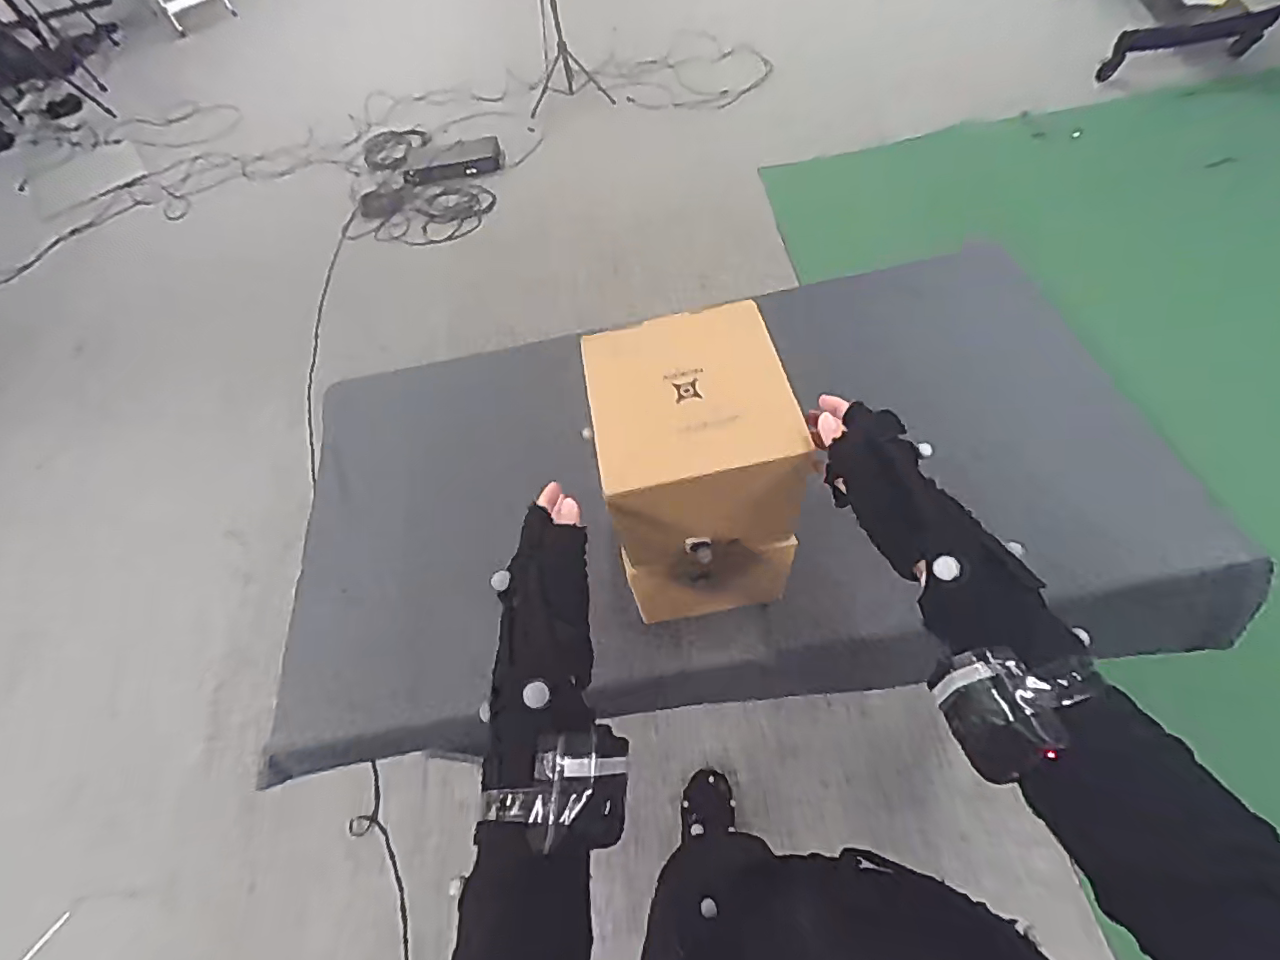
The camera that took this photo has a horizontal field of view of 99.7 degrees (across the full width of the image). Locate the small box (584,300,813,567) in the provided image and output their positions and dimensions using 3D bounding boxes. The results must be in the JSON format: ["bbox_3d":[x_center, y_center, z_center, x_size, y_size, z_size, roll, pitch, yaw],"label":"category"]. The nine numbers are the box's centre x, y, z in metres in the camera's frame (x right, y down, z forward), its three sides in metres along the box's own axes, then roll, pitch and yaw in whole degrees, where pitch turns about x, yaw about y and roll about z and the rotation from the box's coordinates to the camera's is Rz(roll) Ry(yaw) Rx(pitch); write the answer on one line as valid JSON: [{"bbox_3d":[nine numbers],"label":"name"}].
[{"bbox_3d":[0.050,-0.038,0.525,0.168,0.176,0.179,-13,59,2],"label":"small box"}]

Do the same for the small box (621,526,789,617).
[{"bbox_3d":[0.071,0.059,0.674,0.179,0.176,0.168,-10,59,1],"label":"small box"}]
